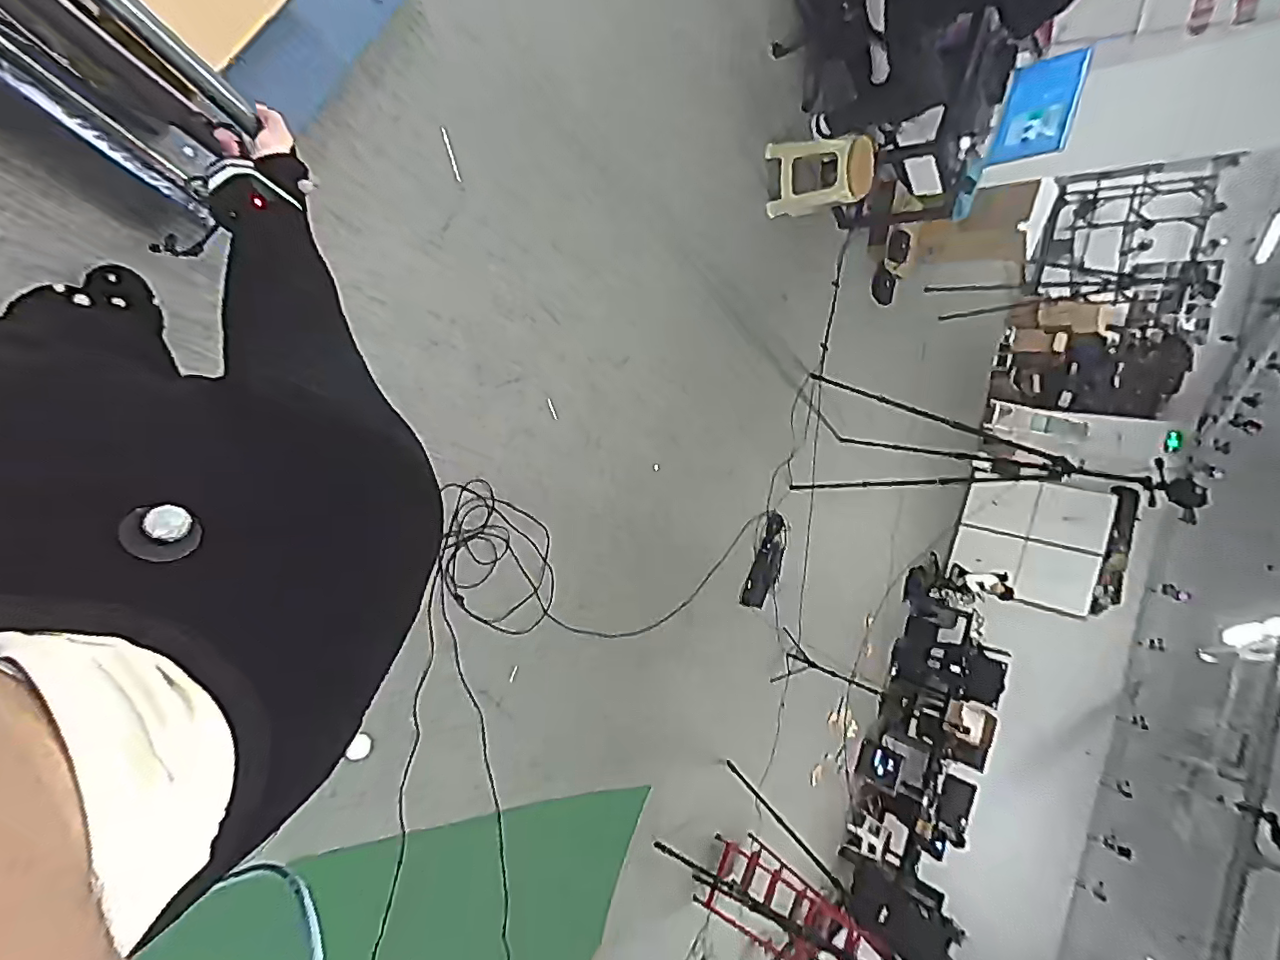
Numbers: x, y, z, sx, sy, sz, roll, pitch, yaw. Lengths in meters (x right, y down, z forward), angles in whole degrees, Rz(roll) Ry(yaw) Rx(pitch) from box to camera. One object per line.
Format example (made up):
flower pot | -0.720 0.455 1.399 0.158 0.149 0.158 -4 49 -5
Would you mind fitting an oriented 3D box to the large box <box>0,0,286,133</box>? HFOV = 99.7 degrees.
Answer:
large box | -0.814 -0.883 0.893 0.320 0.320 0.408 43 67 -47
